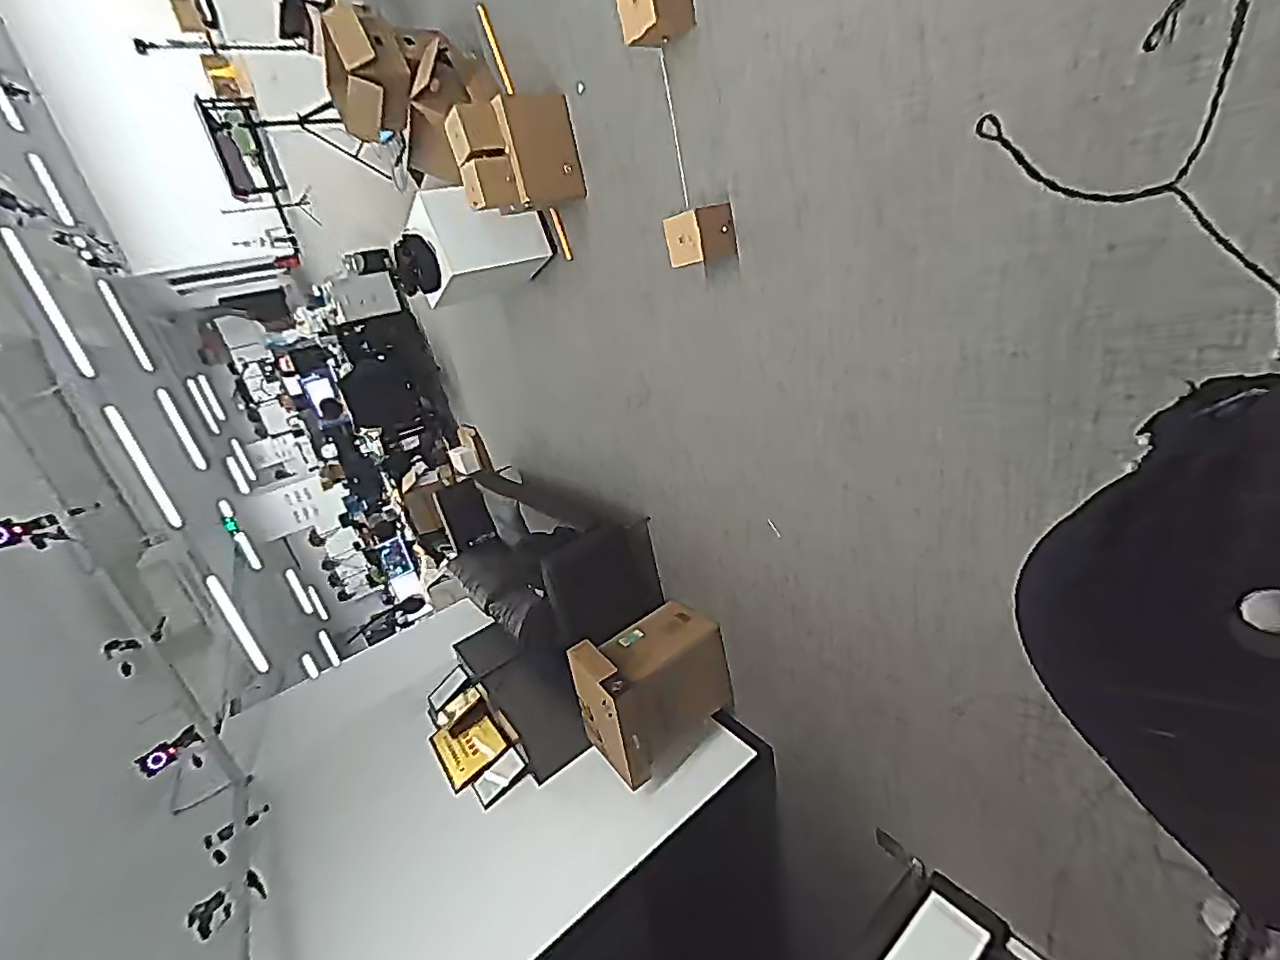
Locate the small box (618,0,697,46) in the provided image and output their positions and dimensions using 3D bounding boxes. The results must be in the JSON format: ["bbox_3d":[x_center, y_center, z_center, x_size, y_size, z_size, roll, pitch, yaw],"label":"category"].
[{"bbox_3d":[0.052,-1.485,1.678,0.168,0.176,0.179,15,126,53],"label":"small box"}]

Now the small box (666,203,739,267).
[{"bbox_3d":[0.221,-0.860,1.904,0.179,0.176,0.168,16,126,54],"label":"small box"}]
